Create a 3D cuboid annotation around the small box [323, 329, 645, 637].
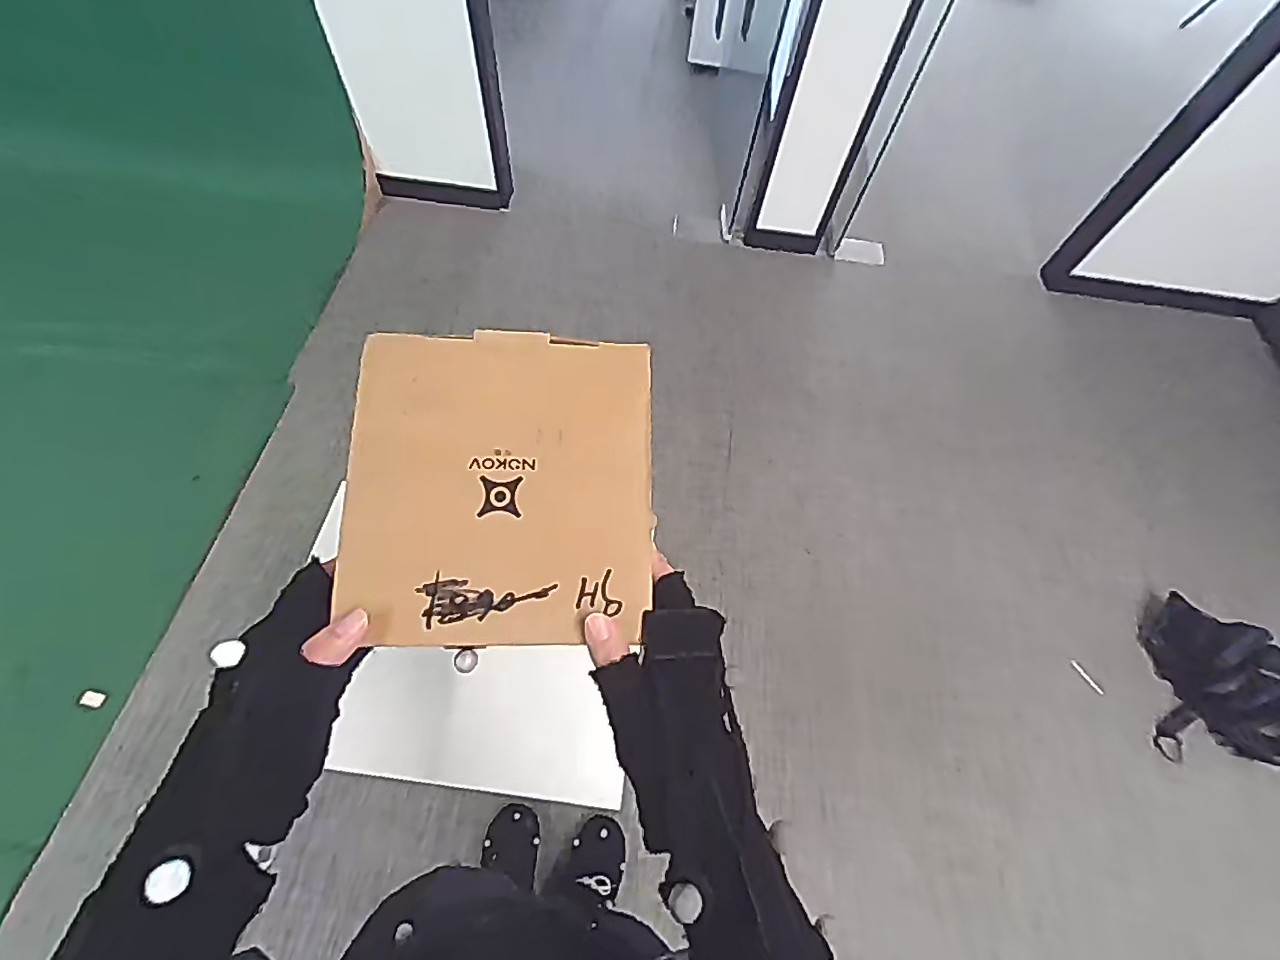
[{"bbox_3d":[-0.086,0.017,0.377,0.168,0.176,0.179,1,76,-4],"label":"small box"}]
